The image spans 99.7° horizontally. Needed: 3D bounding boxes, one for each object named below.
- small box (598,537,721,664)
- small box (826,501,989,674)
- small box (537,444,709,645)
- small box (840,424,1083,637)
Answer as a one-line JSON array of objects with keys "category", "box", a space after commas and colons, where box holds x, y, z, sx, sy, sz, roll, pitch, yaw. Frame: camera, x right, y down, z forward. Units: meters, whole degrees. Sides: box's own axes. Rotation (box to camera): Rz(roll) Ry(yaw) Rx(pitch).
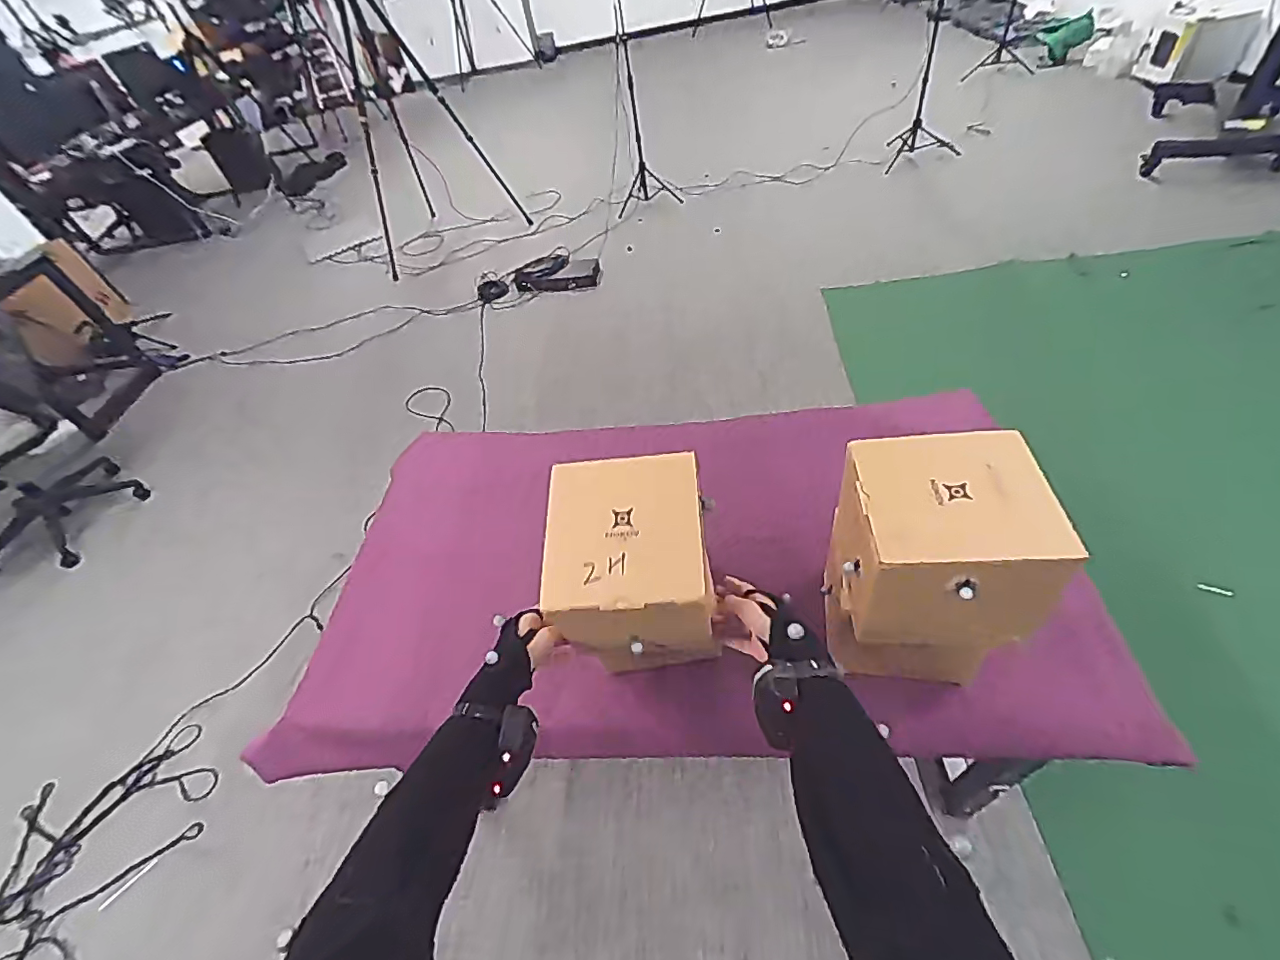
[{"category": "small box", "box": [0.016, 0.155, 0.780, 0.179, 0.176, 0.168, -10, 56, 3]}, {"category": "small box", "box": [0.351, 0.146, 0.730, 0.179, 0.176, 0.168, 1, 48, 15]}, {"category": "small box", "box": [-0.009, 0.081, 0.633, 0.168, 0.176, 0.179, -5, 56, 8]}, {"category": "small box", "box": [0.322, 0.060, 0.592, 0.179, 0.176, 0.168, -3, 48, 11]}]
